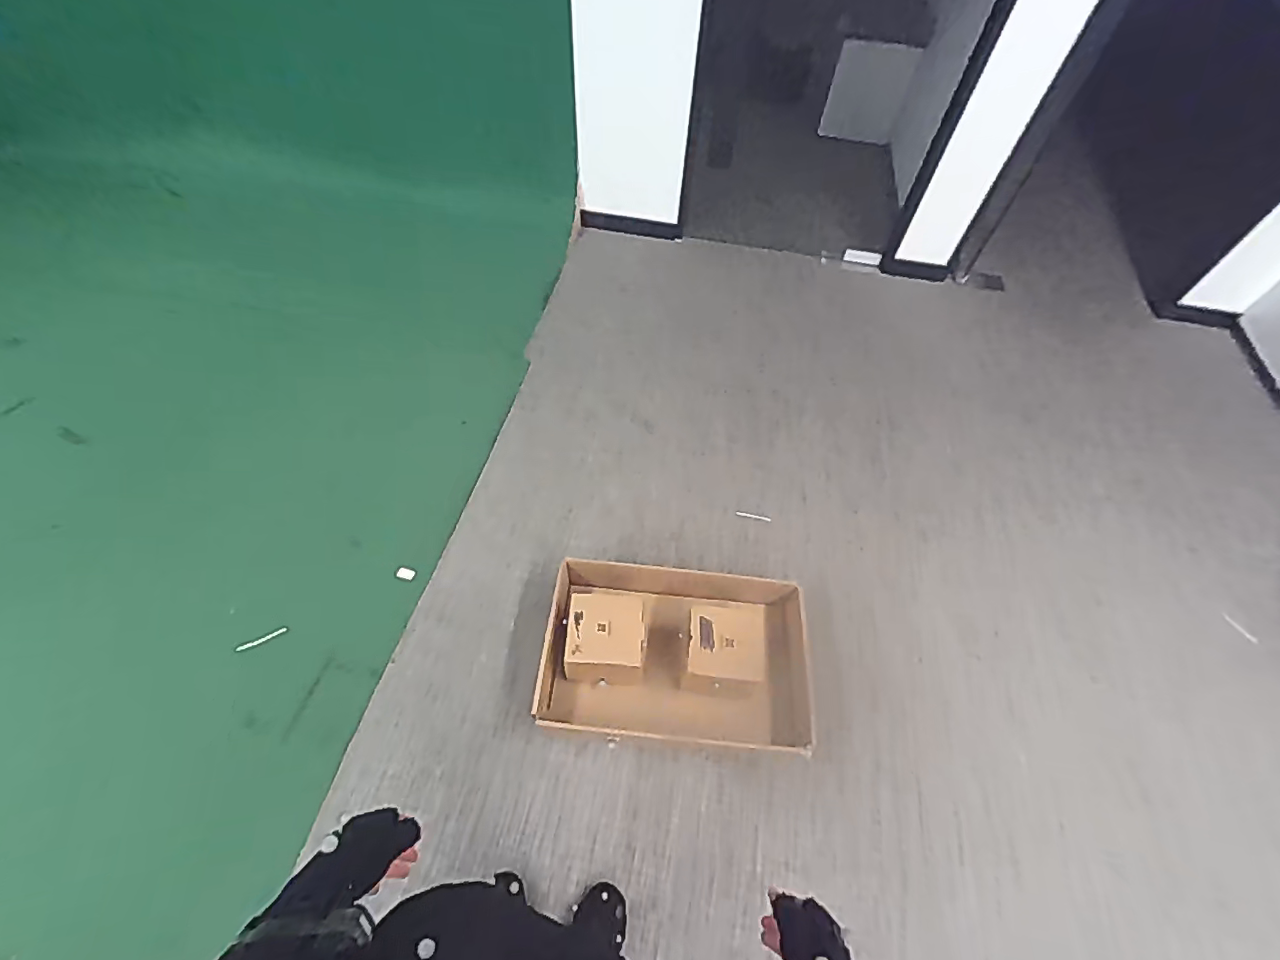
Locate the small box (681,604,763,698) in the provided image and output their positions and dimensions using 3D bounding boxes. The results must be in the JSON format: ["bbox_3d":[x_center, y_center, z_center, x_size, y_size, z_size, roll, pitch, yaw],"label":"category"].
[{"bbox_3d":[0.195,0.420,1.315,0.179,0.176,0.168,7,55,2],"label":"small box"}]

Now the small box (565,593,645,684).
[{"bbox_3d":[-0.084,0.392,1.318,0.179,0.176,0.168,5,54,-2],"label":"small box"}]
